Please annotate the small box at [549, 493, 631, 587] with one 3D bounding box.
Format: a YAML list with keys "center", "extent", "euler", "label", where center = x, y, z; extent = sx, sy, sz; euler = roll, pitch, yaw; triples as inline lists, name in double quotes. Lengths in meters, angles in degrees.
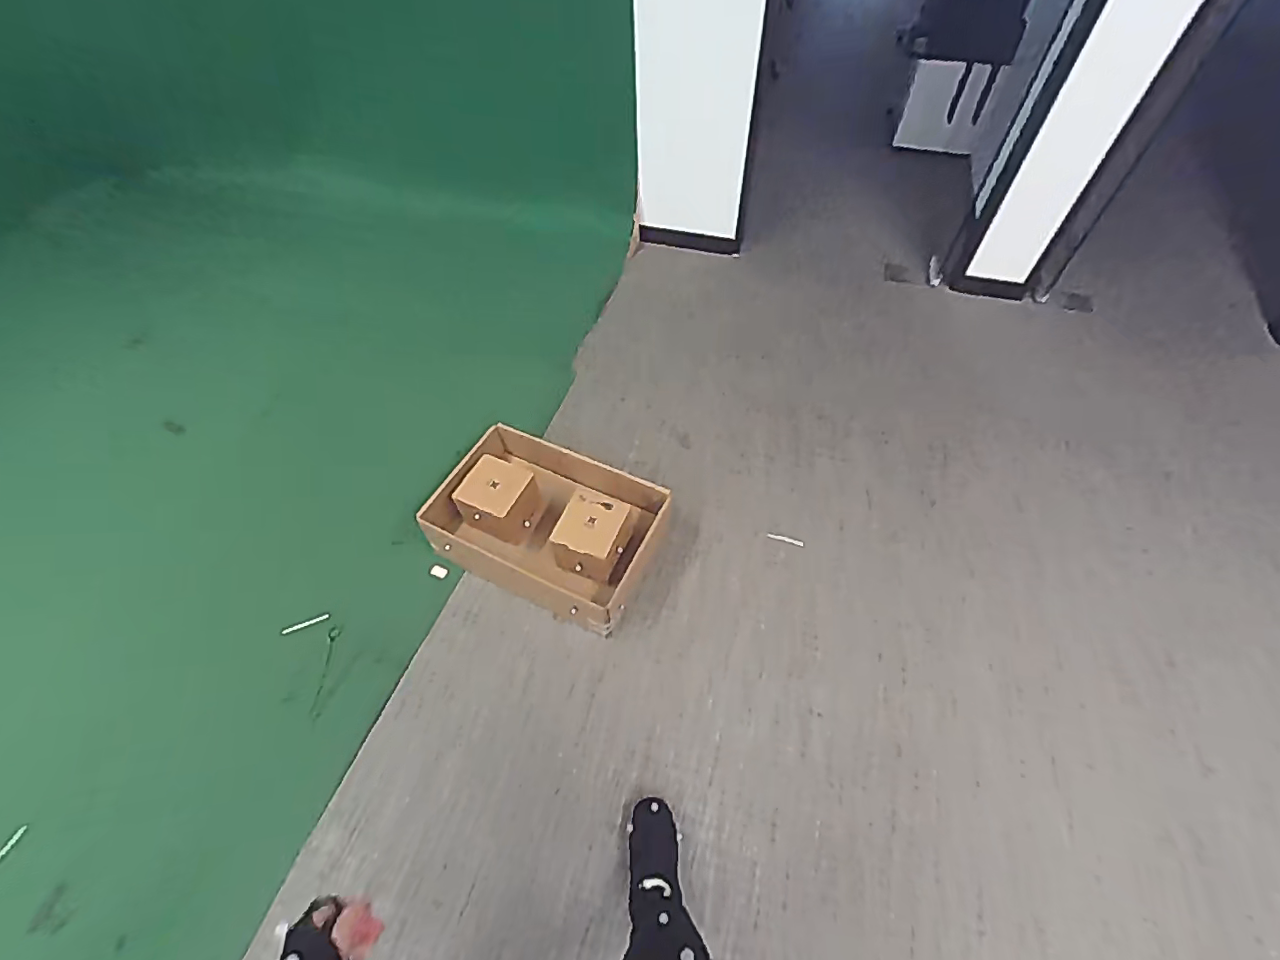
- center: [-0.130, 0.172, 1.503]
  extent: [0.168, 0.176, 0.179]
  euler: [19, 58, 14]
  label: "small box"
